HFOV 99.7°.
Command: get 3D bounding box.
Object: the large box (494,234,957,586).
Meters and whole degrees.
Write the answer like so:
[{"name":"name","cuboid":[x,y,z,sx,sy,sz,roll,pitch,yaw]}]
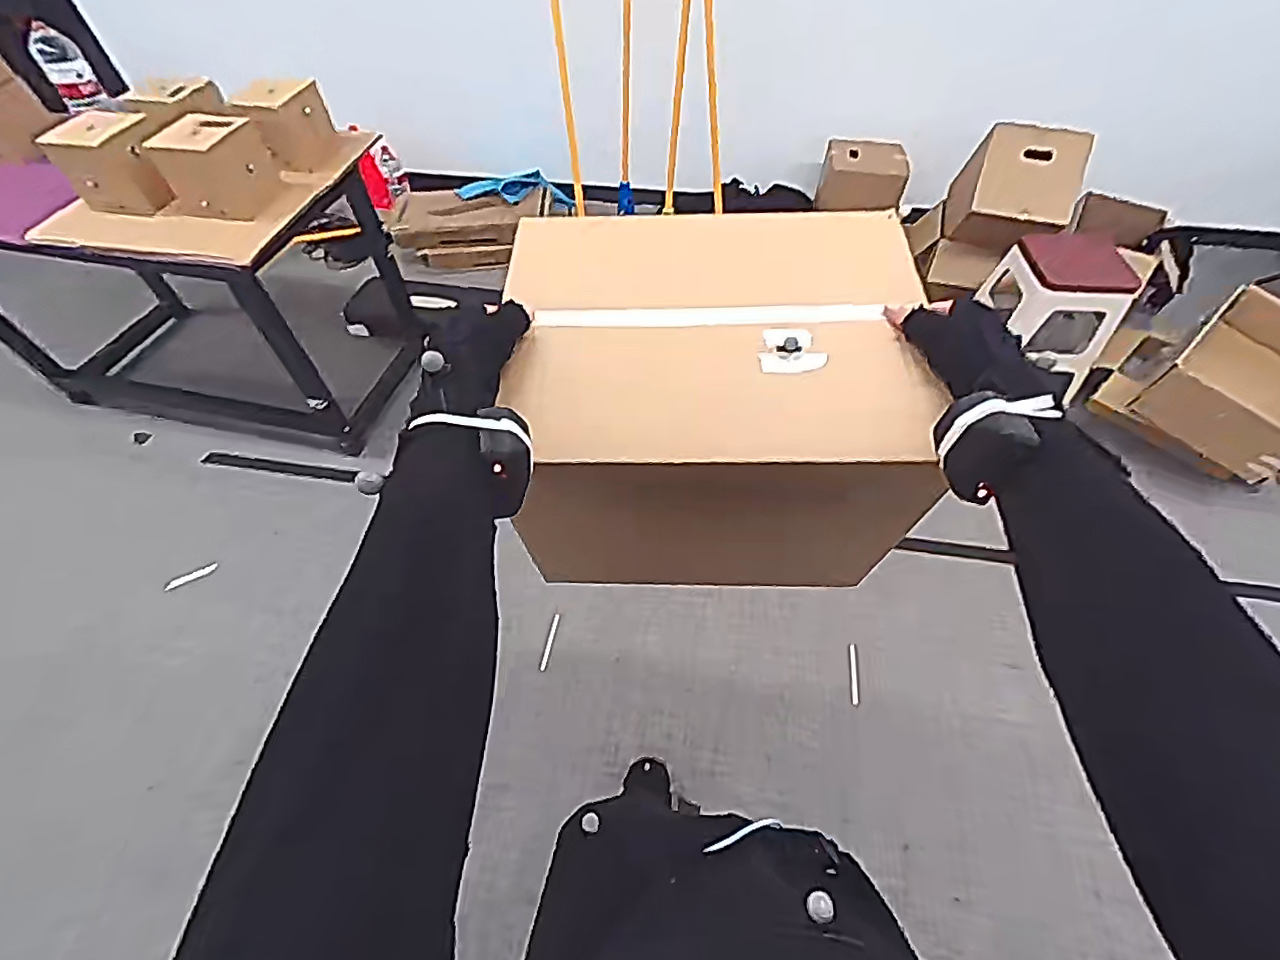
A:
[{"name":"large box","cuboid":[0.074,-0.067,0.661,0.408,0.320,0.320,0,61,2]}]
